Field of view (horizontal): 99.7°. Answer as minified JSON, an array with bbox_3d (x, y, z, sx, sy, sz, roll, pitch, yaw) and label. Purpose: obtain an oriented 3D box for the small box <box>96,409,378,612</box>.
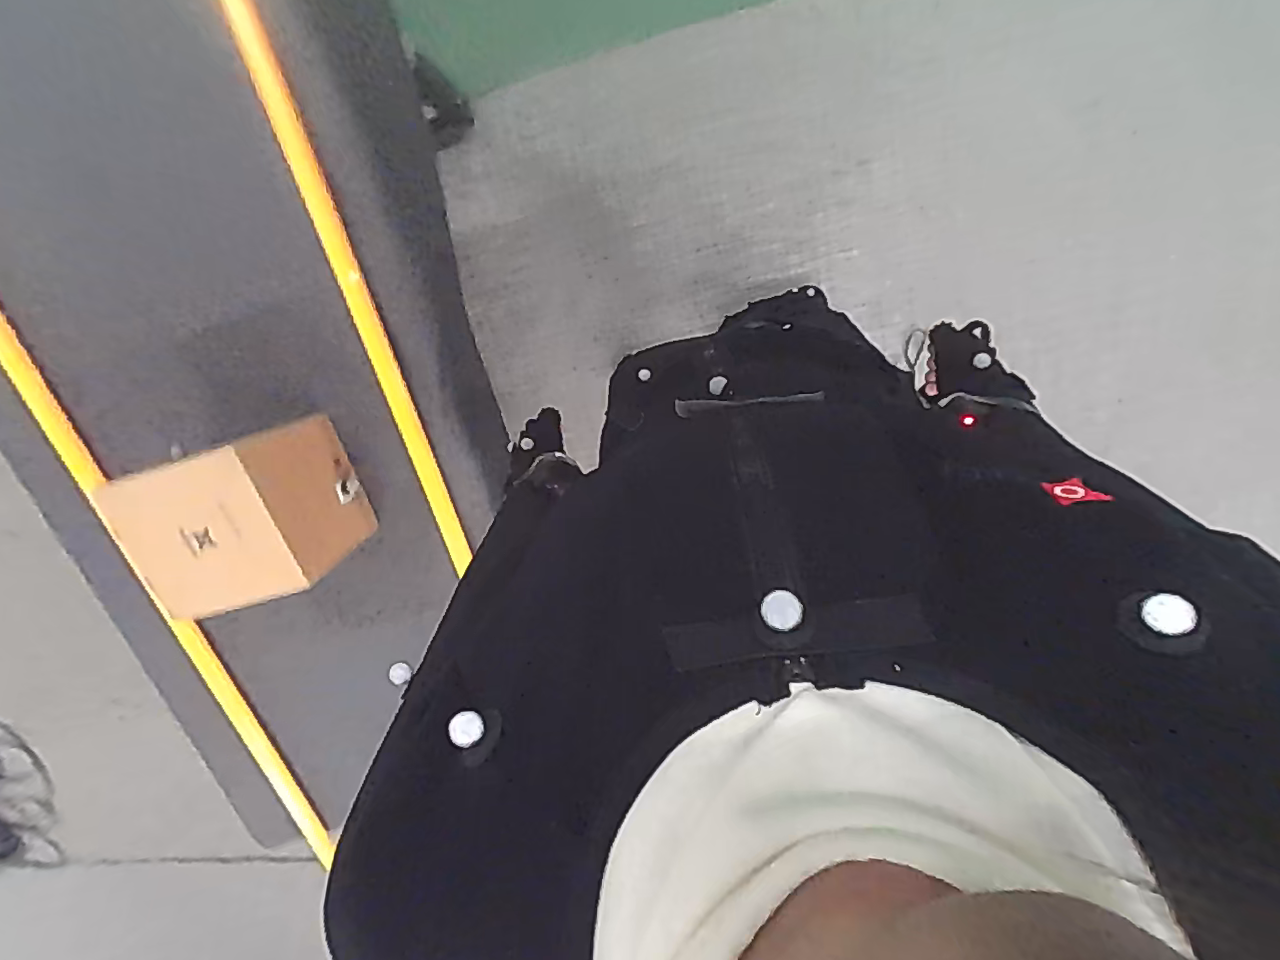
[{"bbox_3d":[-0.460,0.027,0.652,0.179,0.176,0.168,-17,109,7],"label":"small box"}]
